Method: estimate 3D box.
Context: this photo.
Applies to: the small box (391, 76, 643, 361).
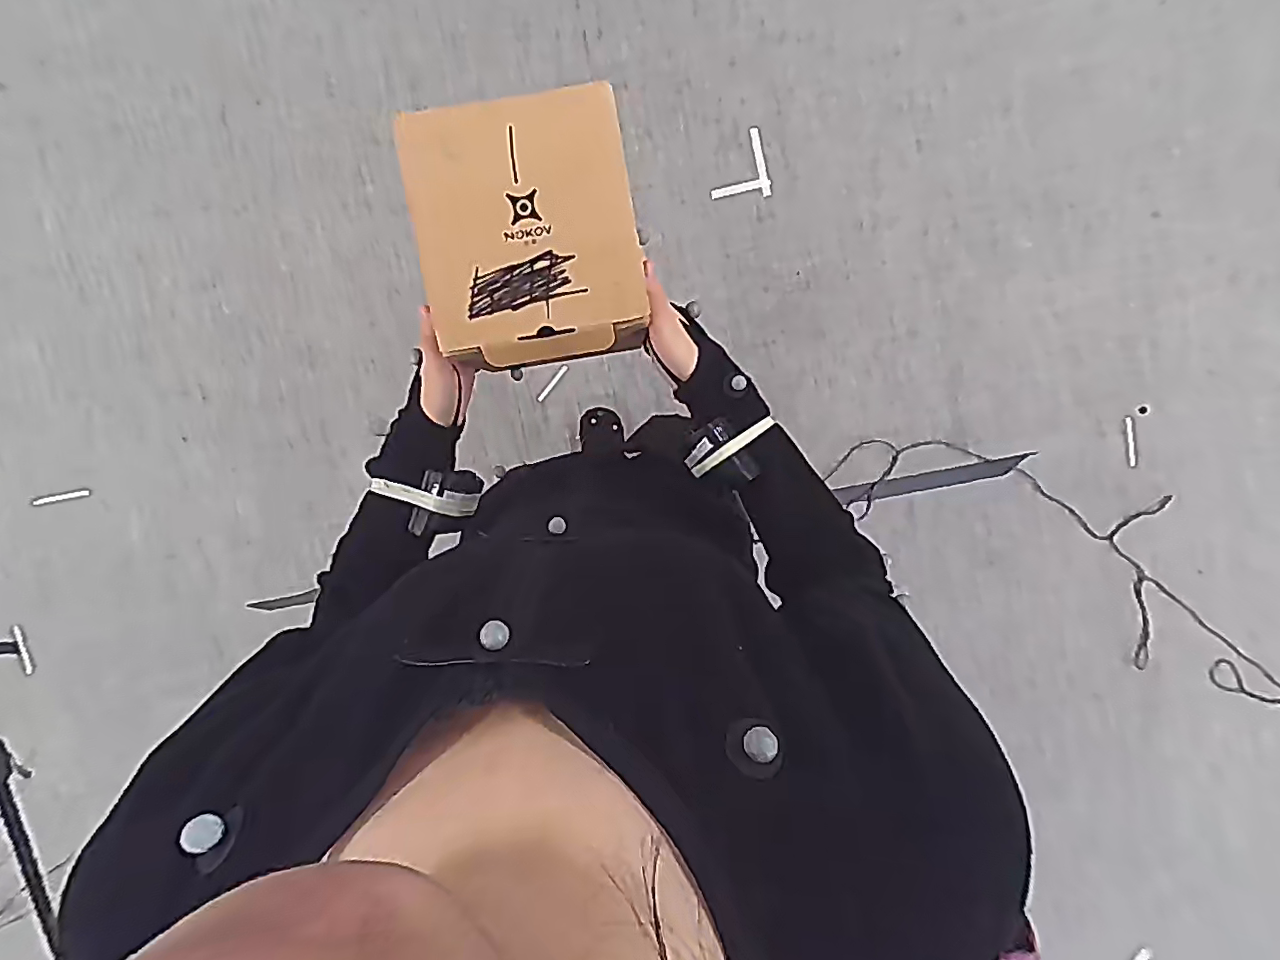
[{"bbox_3d":[-0.091,-0.207,0.482,0.168,0.176,0.179,-10,96,-1],"label":"small box"}]
